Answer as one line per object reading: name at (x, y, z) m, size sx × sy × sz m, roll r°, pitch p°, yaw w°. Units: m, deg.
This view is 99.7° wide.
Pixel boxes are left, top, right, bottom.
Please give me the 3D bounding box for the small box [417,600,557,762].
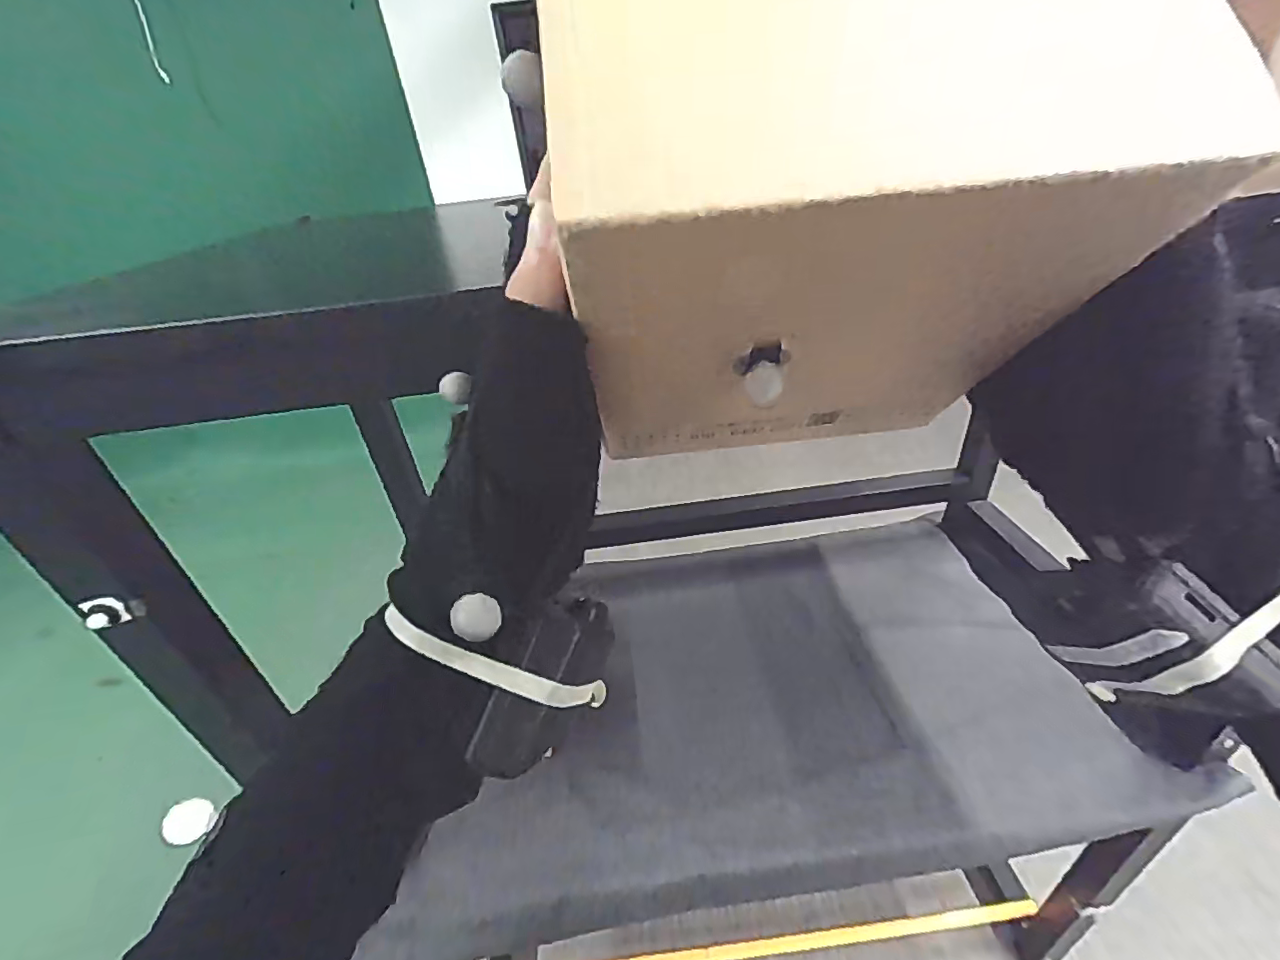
small box at (-0.231, 0.320, 0.870) m, size 0.168 × 0.176 × 0.179 m, roll -6°, pitch 33°, yaw 0°
